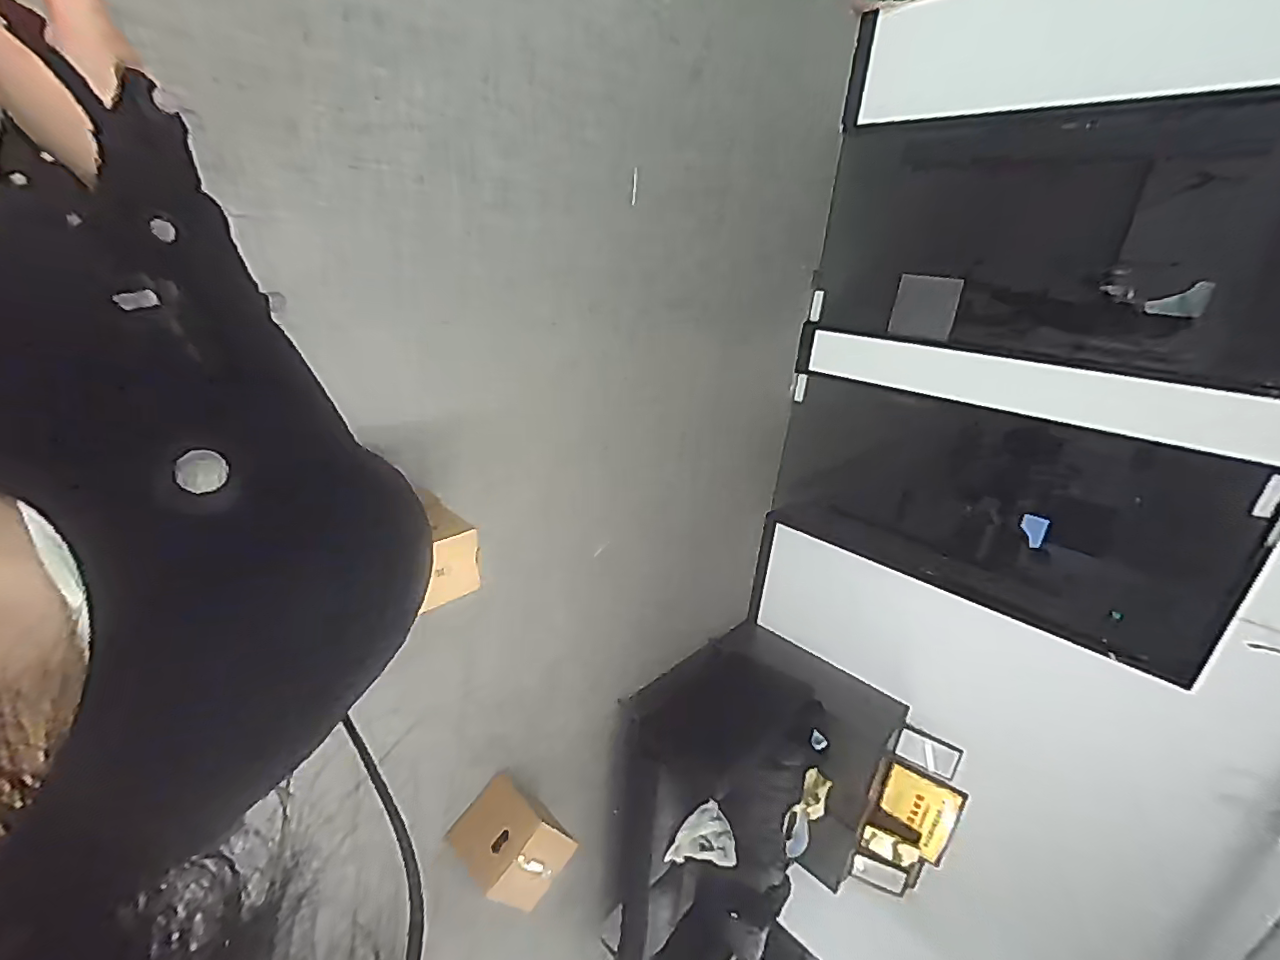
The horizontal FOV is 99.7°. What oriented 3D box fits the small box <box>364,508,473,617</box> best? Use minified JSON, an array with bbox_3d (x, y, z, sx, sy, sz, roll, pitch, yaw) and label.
[{"bbox_3d":[-0.513,0.182,1.259,0.179,0.176,0.168,-20,122,-44],"label":"small box"}]
